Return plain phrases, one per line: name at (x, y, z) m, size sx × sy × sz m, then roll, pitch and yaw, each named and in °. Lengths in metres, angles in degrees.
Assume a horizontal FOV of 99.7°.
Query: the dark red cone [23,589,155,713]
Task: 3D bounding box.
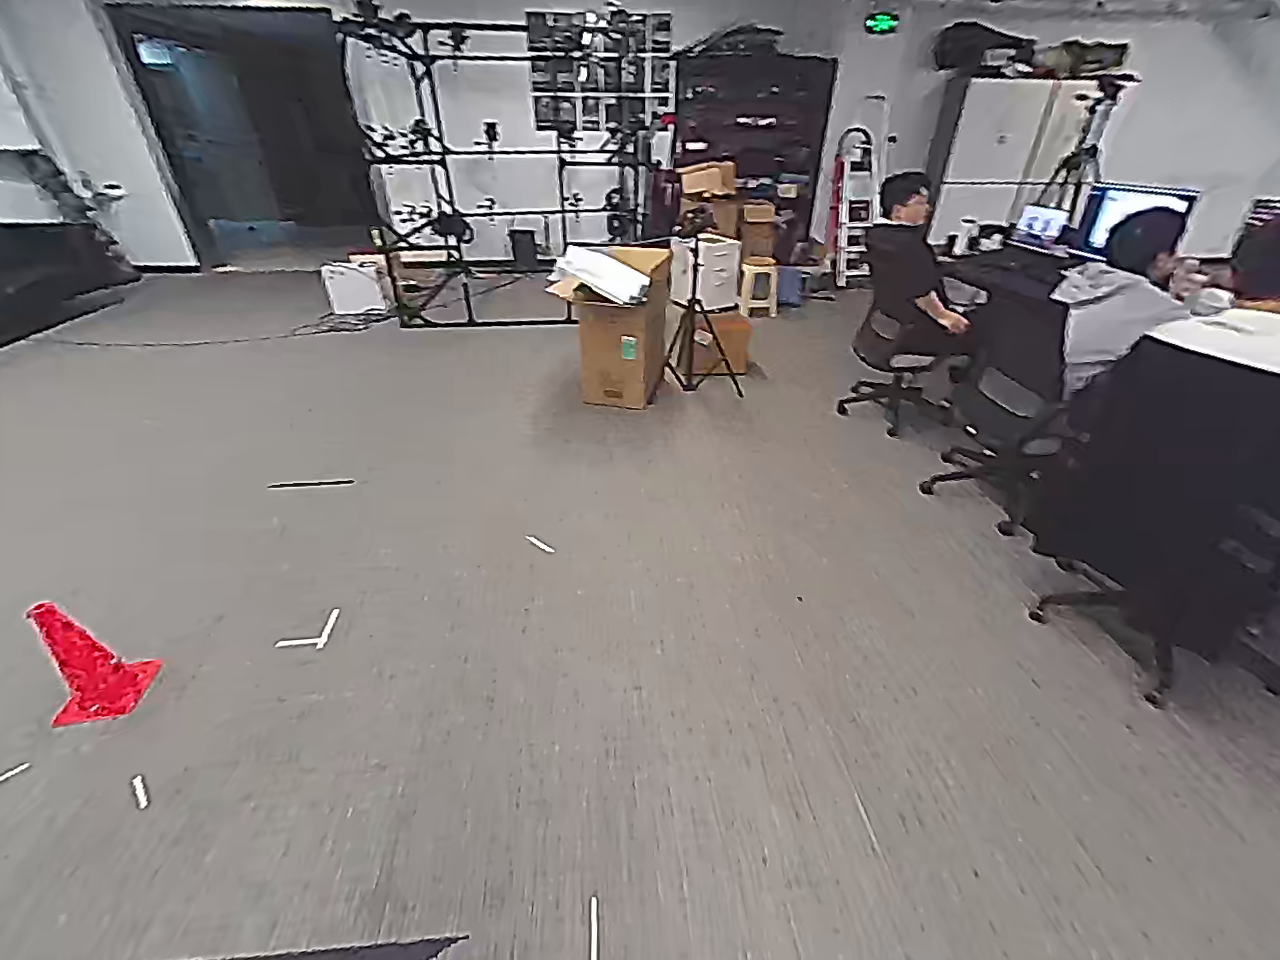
dark red cone at (-1.581, 0.456, 1.509) m, size 0.202 × 0.394 × 0.201 m, roll -6°, pitch 34°, yaw -10°
